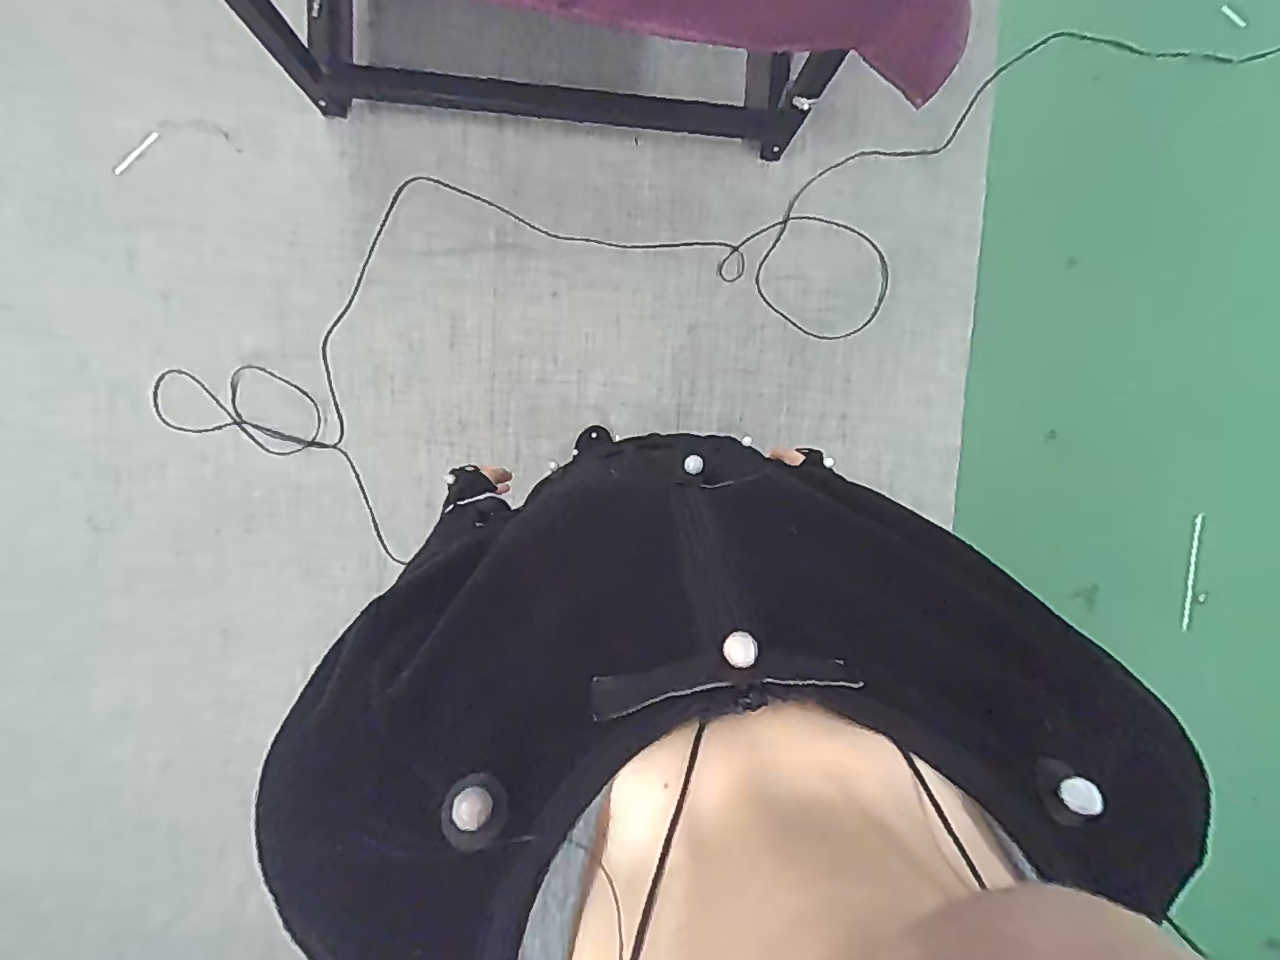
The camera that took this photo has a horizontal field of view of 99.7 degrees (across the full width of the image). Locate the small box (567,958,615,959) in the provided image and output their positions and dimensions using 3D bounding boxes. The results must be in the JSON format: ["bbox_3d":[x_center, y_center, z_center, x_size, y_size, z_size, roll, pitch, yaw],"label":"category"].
[{"bbox_3d":[-0.145,1.443,1.462,0.179,0.176,0.168,2,93,-7],"label":"small box"}]
